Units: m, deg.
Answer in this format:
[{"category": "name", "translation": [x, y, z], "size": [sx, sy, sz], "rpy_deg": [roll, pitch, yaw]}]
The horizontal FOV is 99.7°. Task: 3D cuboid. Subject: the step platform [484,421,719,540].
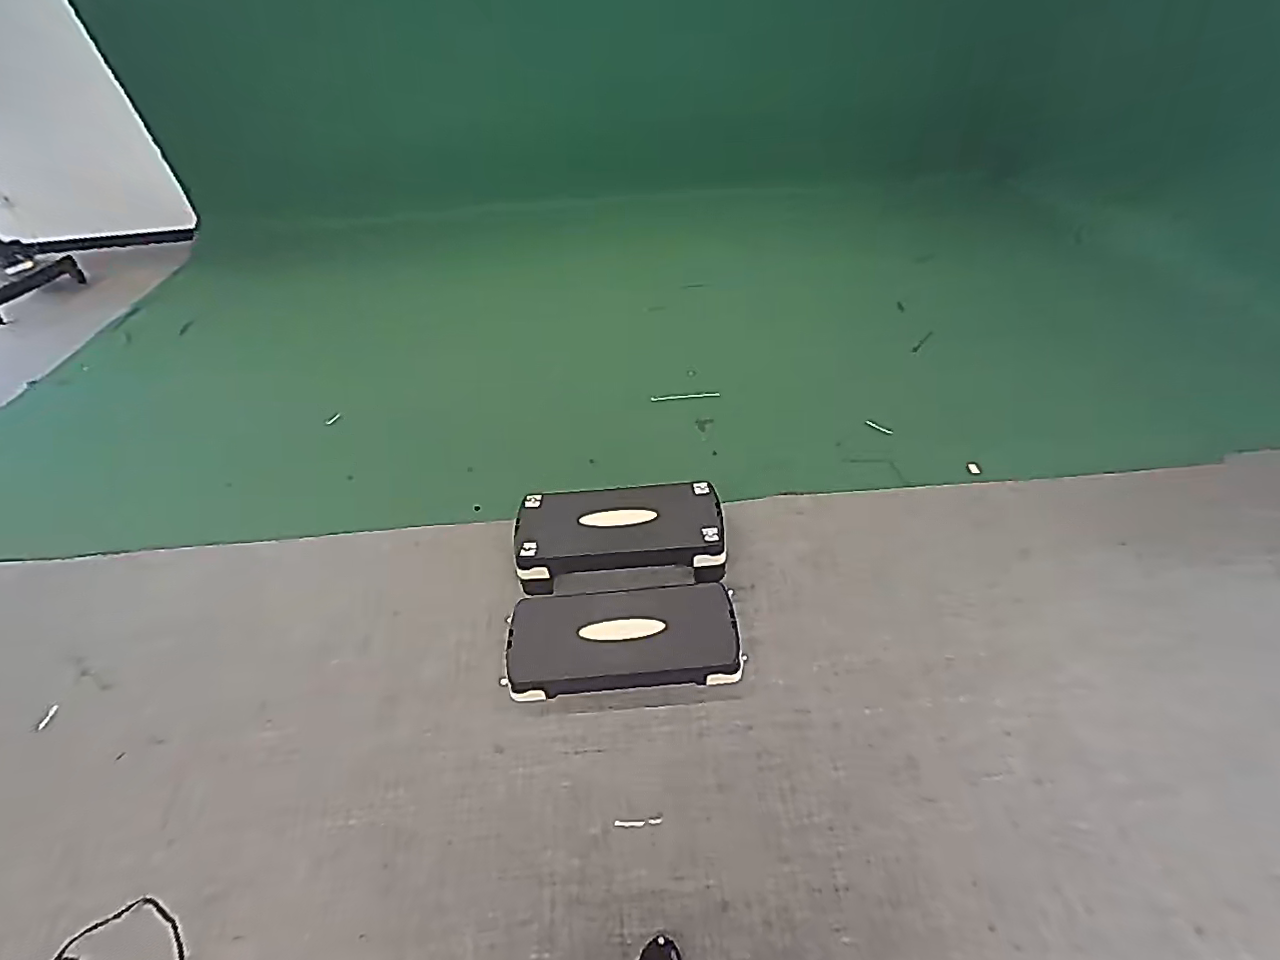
[{"category": "step platform", "translation": [-0.108, 0.001, 1.653], "size": [0.684, 0.204, 0.286], "rpy_deg": [-5, 47, 0]}]
